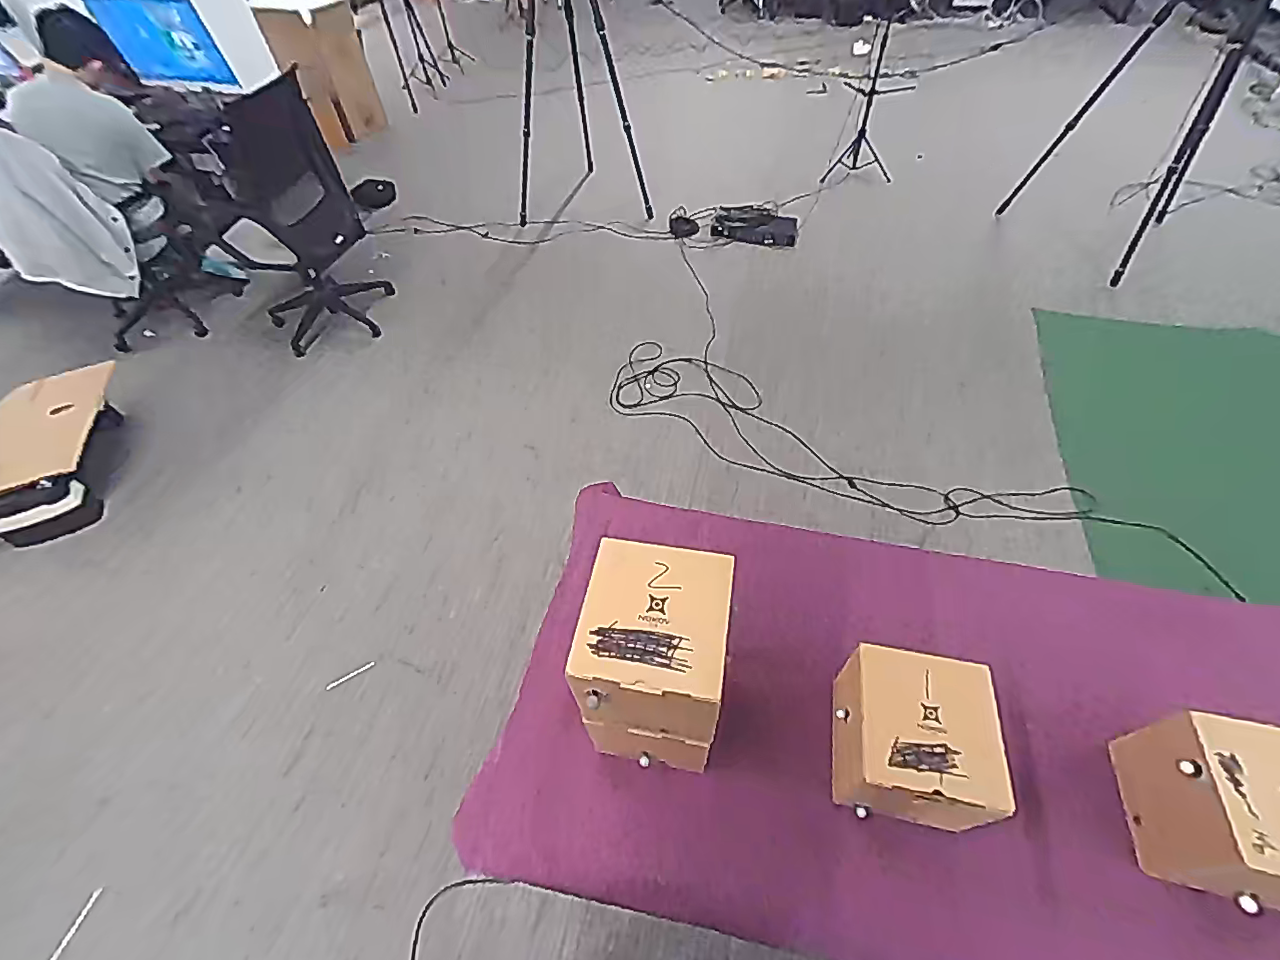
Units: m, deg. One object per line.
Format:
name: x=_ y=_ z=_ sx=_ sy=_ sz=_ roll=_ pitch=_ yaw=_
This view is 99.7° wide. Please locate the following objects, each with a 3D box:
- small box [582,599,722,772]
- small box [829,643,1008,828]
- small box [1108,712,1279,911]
small box: x=0.023 y=0.303 z=0.794 sx=0.168 sy=0.176 sz=0.179 roll=7 pitch=52 yaw=9
small box: x=0.361 y=0.351 z=0.737 sx=0.168 sy=0.176 sz=0.179 roll=8 pitch=51 yaw=10
small box: x=0.740 y=0.411 z=0.665 sx=0.179 sy=0.176 sz=0.168 roll=10 pitch=52 yaw=11
